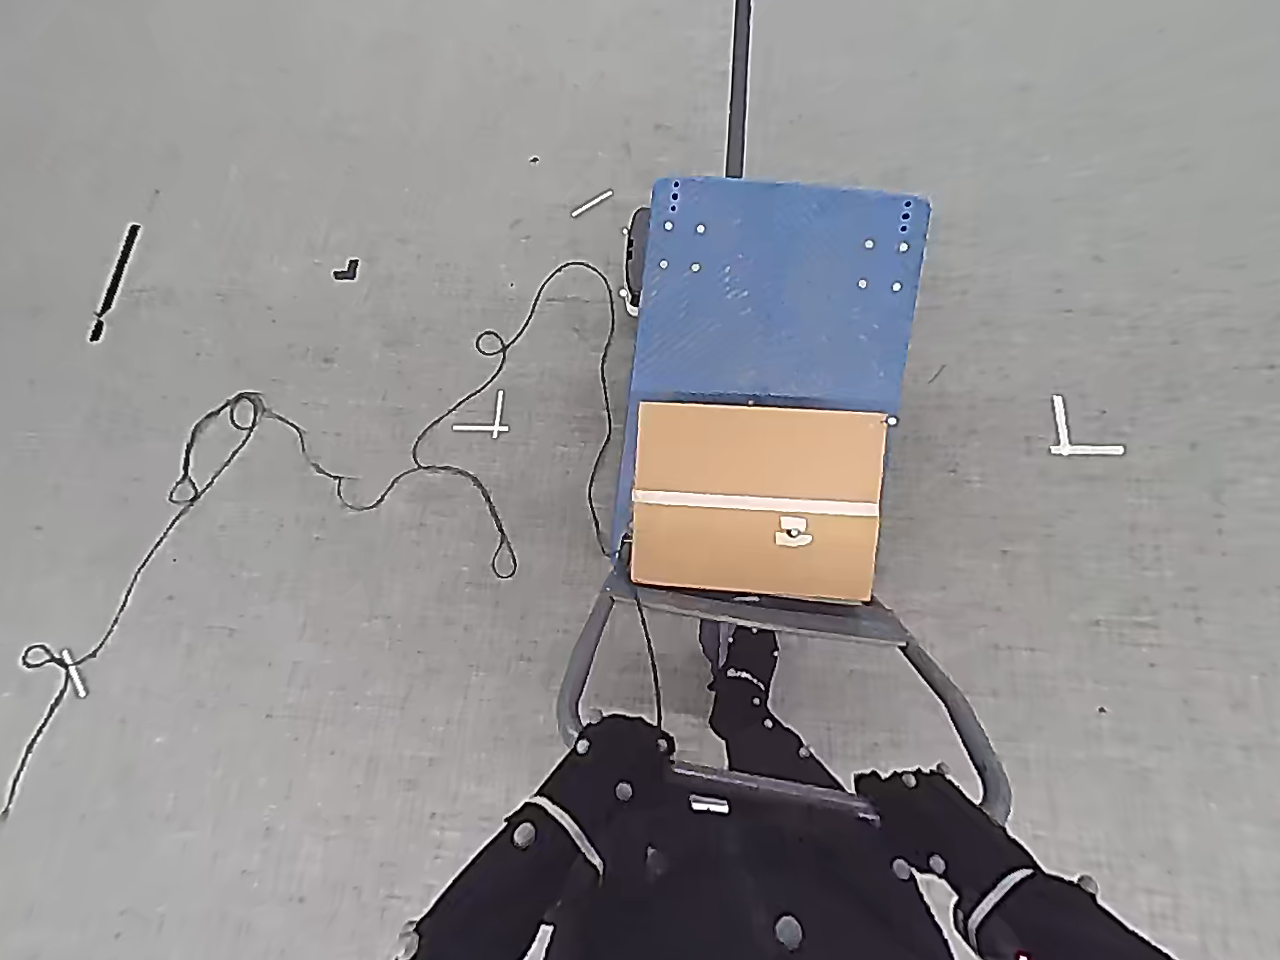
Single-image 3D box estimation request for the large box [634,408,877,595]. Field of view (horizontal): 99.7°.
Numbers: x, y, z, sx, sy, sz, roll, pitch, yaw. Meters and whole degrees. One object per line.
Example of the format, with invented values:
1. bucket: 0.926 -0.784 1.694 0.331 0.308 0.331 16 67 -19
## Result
1. large box: 0.201 0.024 1.071 0.408 0.320 0.320 3 97 4
